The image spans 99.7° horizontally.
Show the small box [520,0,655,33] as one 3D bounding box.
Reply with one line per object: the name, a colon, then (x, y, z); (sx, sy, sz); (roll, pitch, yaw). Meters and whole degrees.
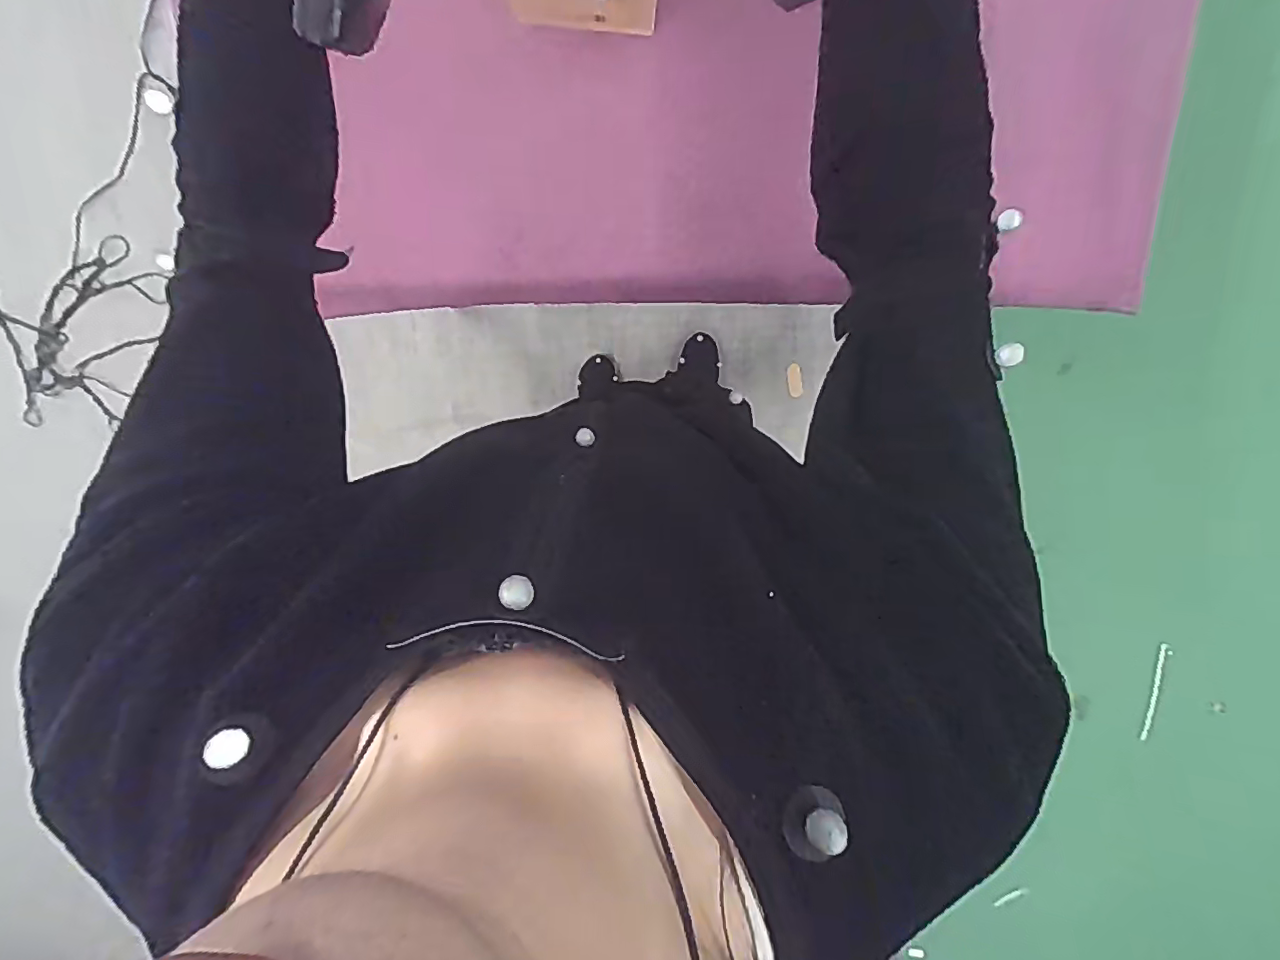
small box: (-0.059, -0.605, 0.550); (0.168, 0.176, 0.179); (10, 104, 1)
